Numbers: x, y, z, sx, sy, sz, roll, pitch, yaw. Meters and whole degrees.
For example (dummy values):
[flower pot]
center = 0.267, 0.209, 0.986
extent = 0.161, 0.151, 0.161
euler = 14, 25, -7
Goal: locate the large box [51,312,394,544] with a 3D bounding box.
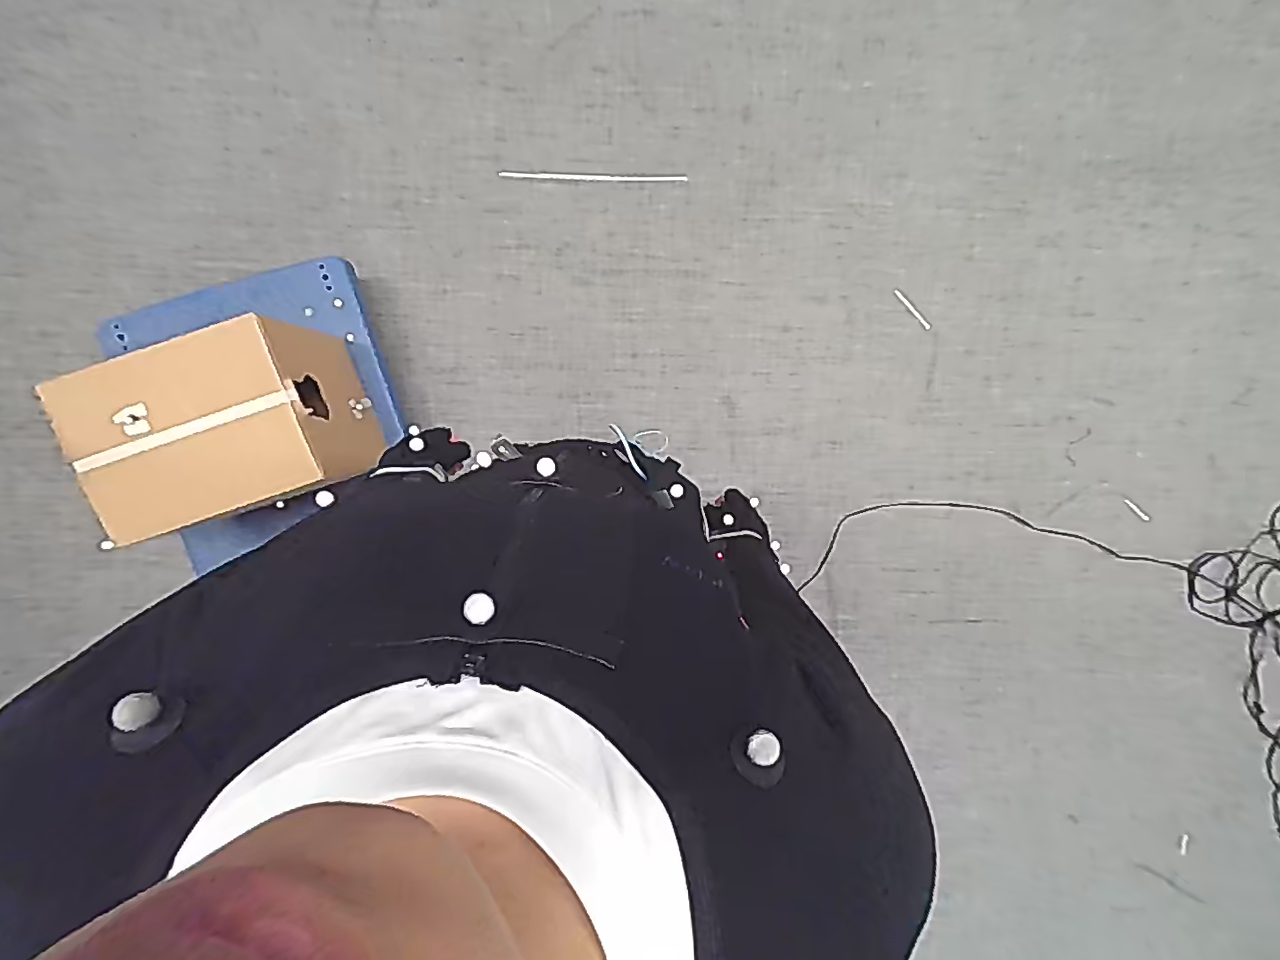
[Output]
[large box]
center = -0.807, -0.109, 1.113
extent = 0.408, 0.320, 0.320
euler = -18, 96, 1
